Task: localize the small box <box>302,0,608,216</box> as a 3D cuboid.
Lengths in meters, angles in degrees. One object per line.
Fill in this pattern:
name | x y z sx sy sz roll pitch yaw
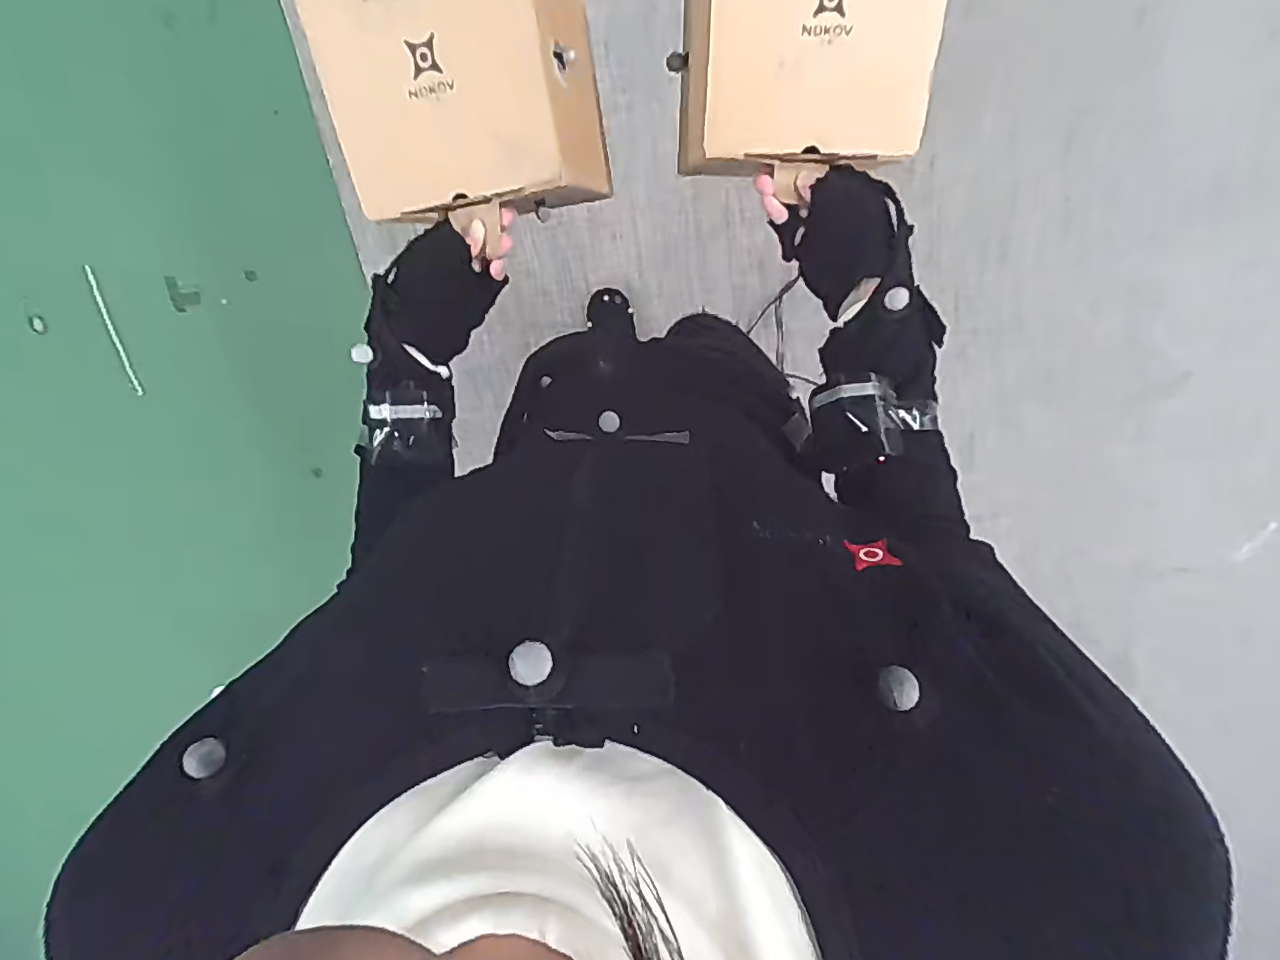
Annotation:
small box | -0.131 -0.324 0.445 0.168 0.176 0.179 -5 112 12
